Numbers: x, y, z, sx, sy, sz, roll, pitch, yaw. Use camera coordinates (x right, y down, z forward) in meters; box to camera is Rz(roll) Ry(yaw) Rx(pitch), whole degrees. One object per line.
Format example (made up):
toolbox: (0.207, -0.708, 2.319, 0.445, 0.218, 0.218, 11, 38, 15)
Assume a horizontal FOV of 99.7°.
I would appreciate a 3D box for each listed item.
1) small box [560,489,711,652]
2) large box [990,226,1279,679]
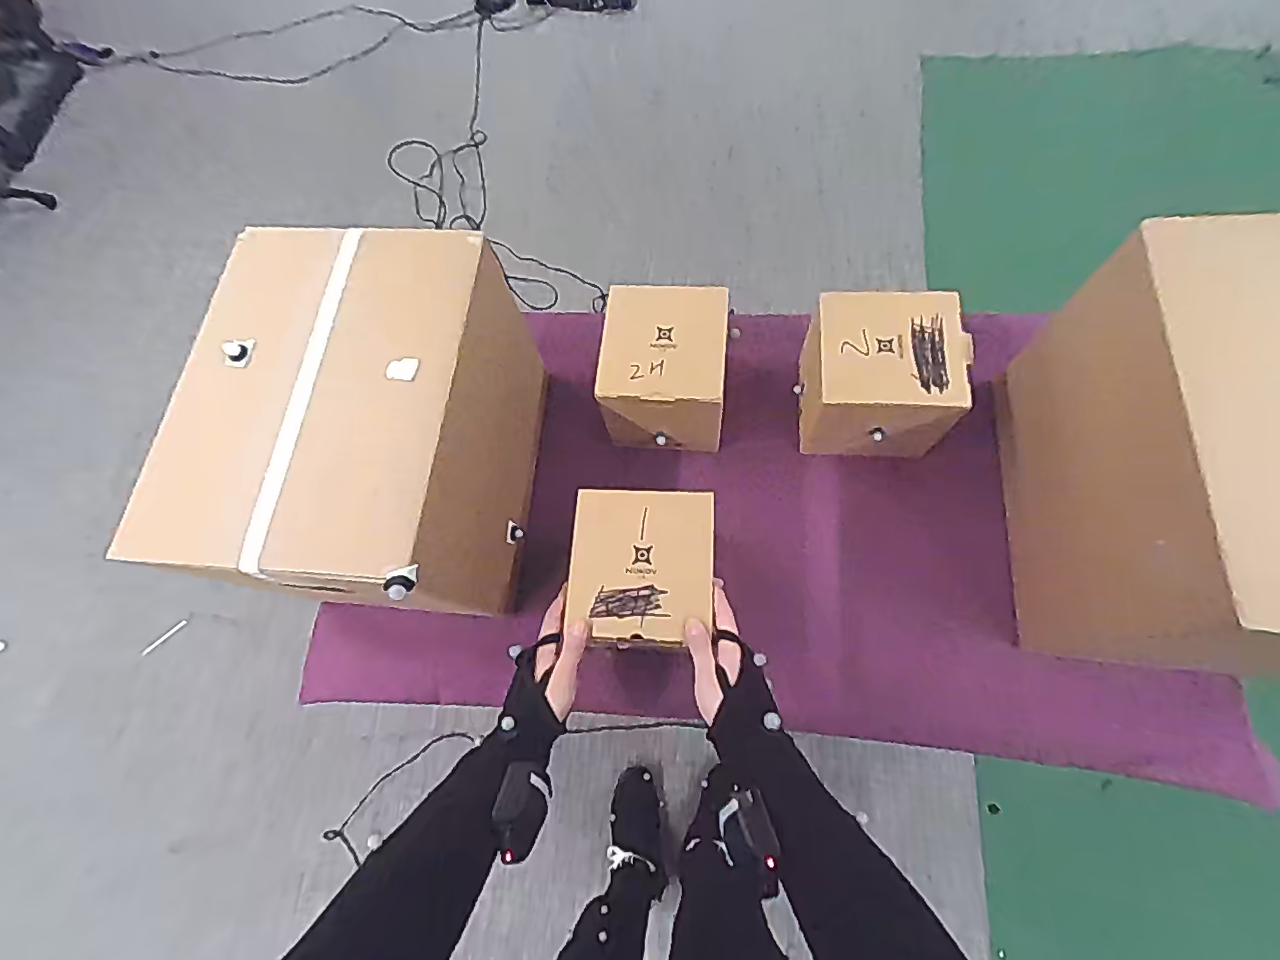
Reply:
small box: (0.006, 0.122, 0.688, 0.168, 0.176, 0.179, 1, 68, 6)
large box: (0.640, -0.006, 0.595, 0.320, 0.320, 0.408, 4, 71, 9)
